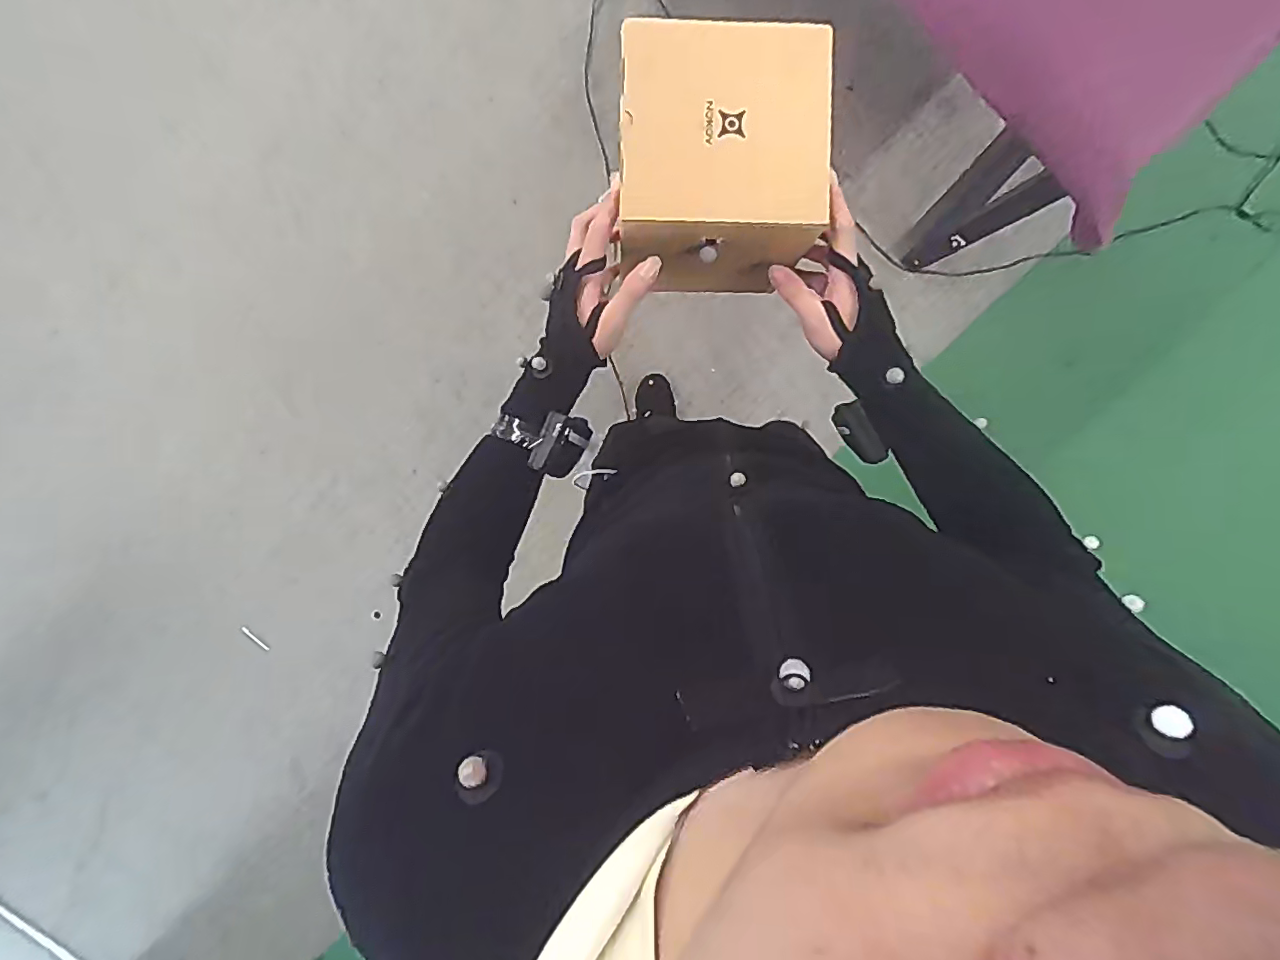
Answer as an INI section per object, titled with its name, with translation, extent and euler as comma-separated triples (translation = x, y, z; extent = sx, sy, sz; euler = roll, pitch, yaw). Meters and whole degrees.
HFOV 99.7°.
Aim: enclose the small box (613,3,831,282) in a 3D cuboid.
[small box]
translation = 0.066, -0.301, 0.518
extent = 0.179, 0.176, 0.168
euler = 1, 90, 0
